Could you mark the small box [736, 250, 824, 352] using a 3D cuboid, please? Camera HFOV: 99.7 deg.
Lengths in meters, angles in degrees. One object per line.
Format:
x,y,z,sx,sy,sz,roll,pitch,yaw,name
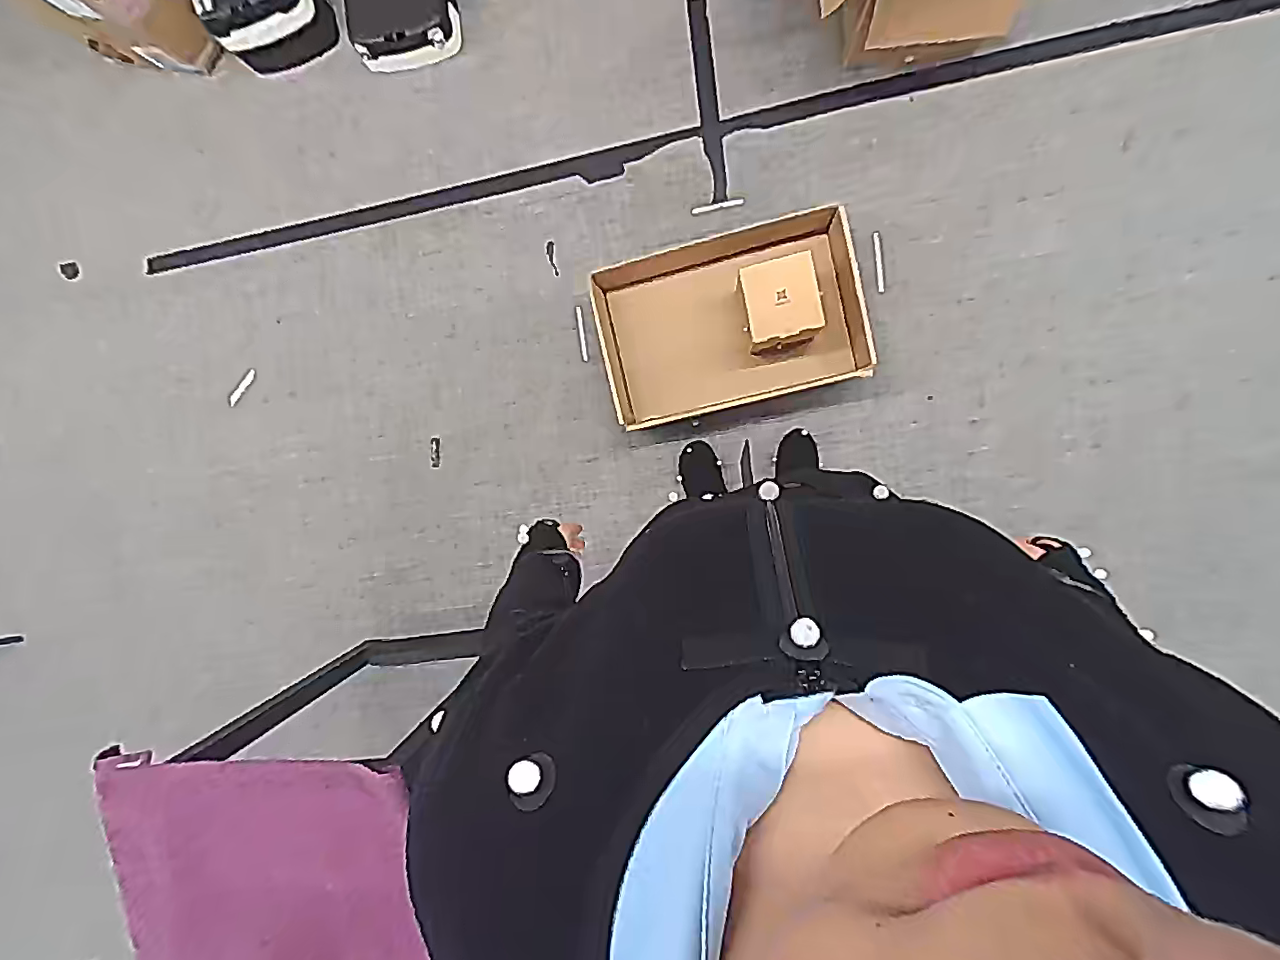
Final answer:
0.332,-0.425,1.311,0.168,0.176,0.179,-12,93,9,small box
